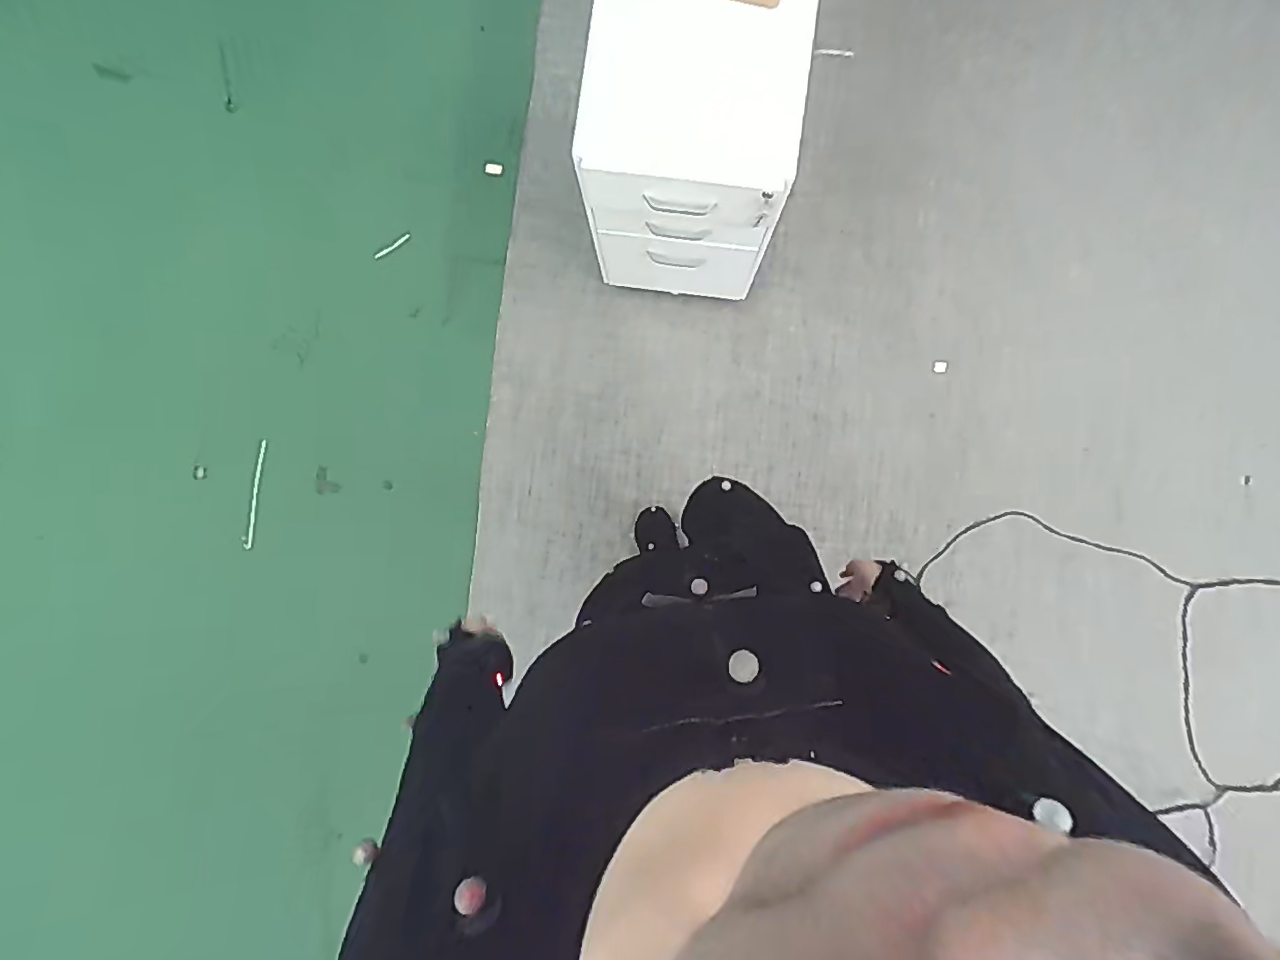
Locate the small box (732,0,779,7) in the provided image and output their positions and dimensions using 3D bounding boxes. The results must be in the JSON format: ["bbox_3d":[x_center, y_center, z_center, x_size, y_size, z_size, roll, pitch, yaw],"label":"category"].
[{"bbox_3d":[0.172,-0.928,0.879,0.179,0.176,0.168,15,88,3],"label":"small box"}]
